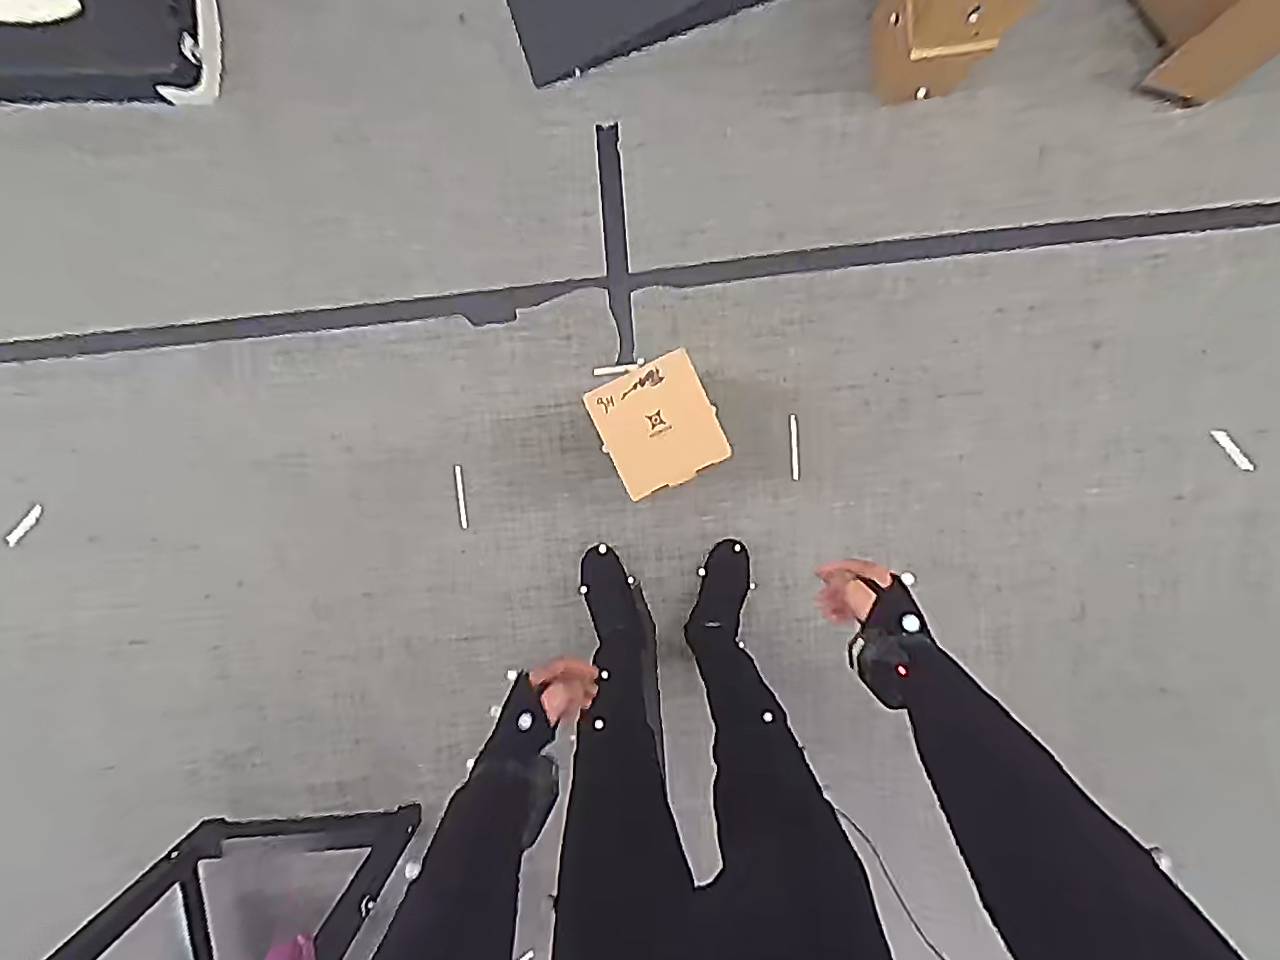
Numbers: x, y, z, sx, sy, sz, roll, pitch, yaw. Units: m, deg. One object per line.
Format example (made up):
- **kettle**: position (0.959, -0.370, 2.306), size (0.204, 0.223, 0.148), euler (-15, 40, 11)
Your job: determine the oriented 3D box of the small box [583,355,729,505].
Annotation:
- **small box**: position (0.026, -0.082, 0.868), size (0.168, 0.176, 0.179), euler (-25, 96, 3)
